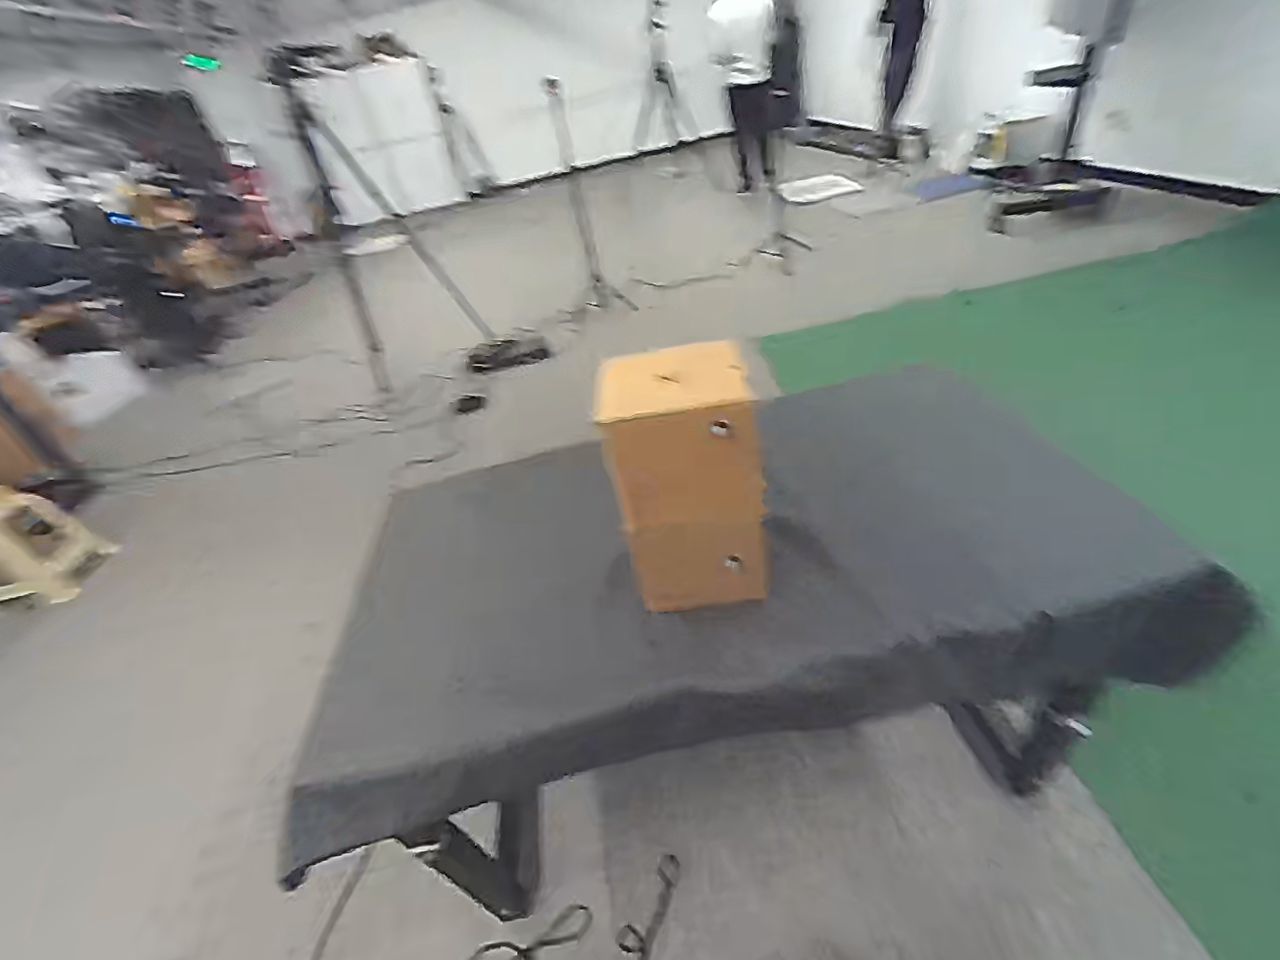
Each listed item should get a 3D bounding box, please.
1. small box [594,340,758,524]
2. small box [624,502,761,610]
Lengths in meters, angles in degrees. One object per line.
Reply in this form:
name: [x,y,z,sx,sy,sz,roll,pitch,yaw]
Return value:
small box: [0.049,-0.059,0.701,0.179,0.176,0.168,-8,37,6]
small box: [0.079,0.070,0.795,0.179,0.176,0.168,-9,36,7]
